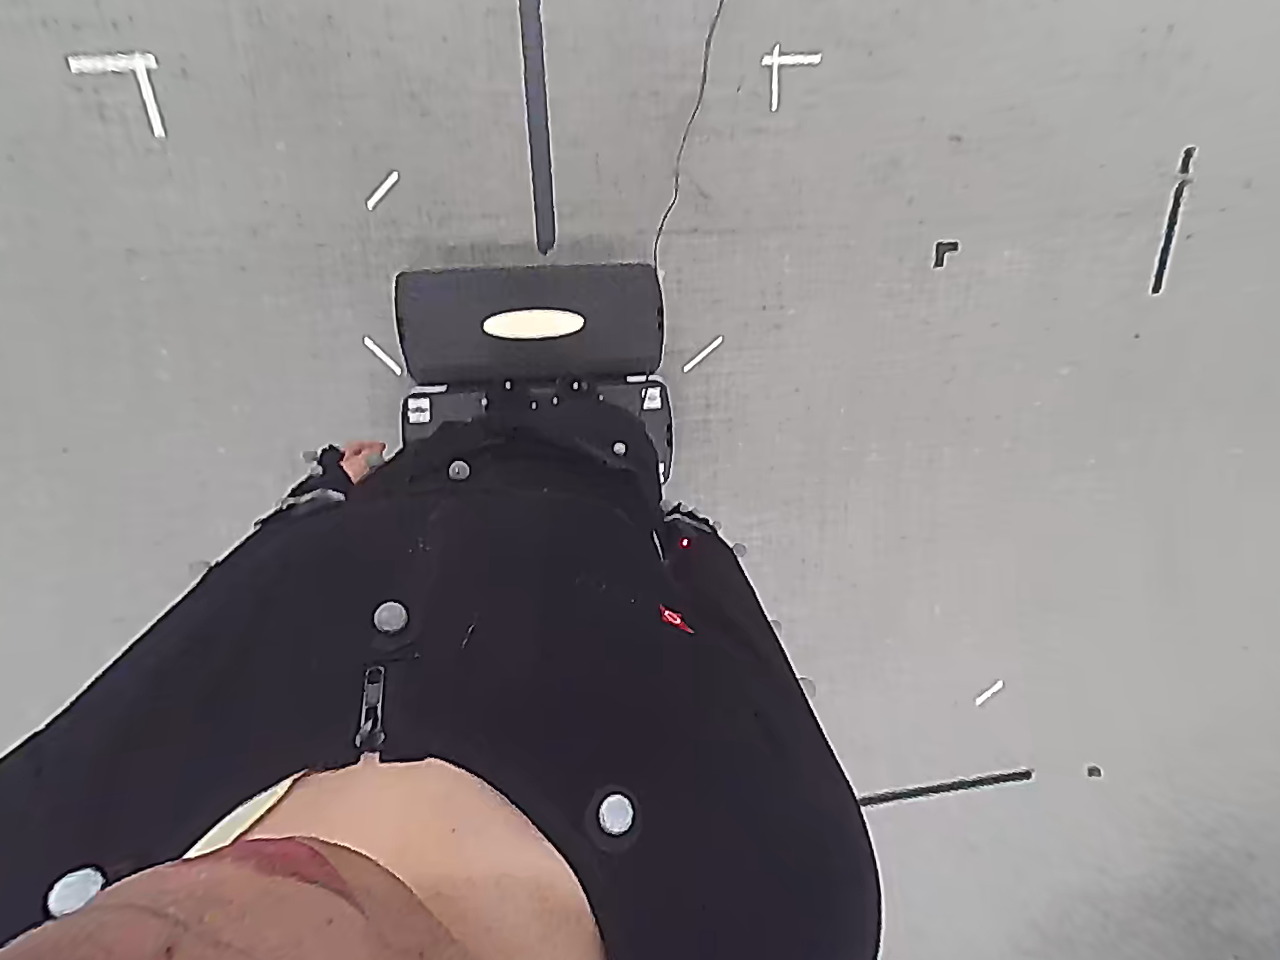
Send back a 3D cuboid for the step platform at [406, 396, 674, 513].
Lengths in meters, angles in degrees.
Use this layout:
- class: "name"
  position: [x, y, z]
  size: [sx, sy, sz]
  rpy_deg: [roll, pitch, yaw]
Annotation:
- class: "step platform"
  position: [-0.251, -0.068, 1.439]
  size: [0.684, 0.204, 0.286]
  rpy_deg: [0, 103, -7]
